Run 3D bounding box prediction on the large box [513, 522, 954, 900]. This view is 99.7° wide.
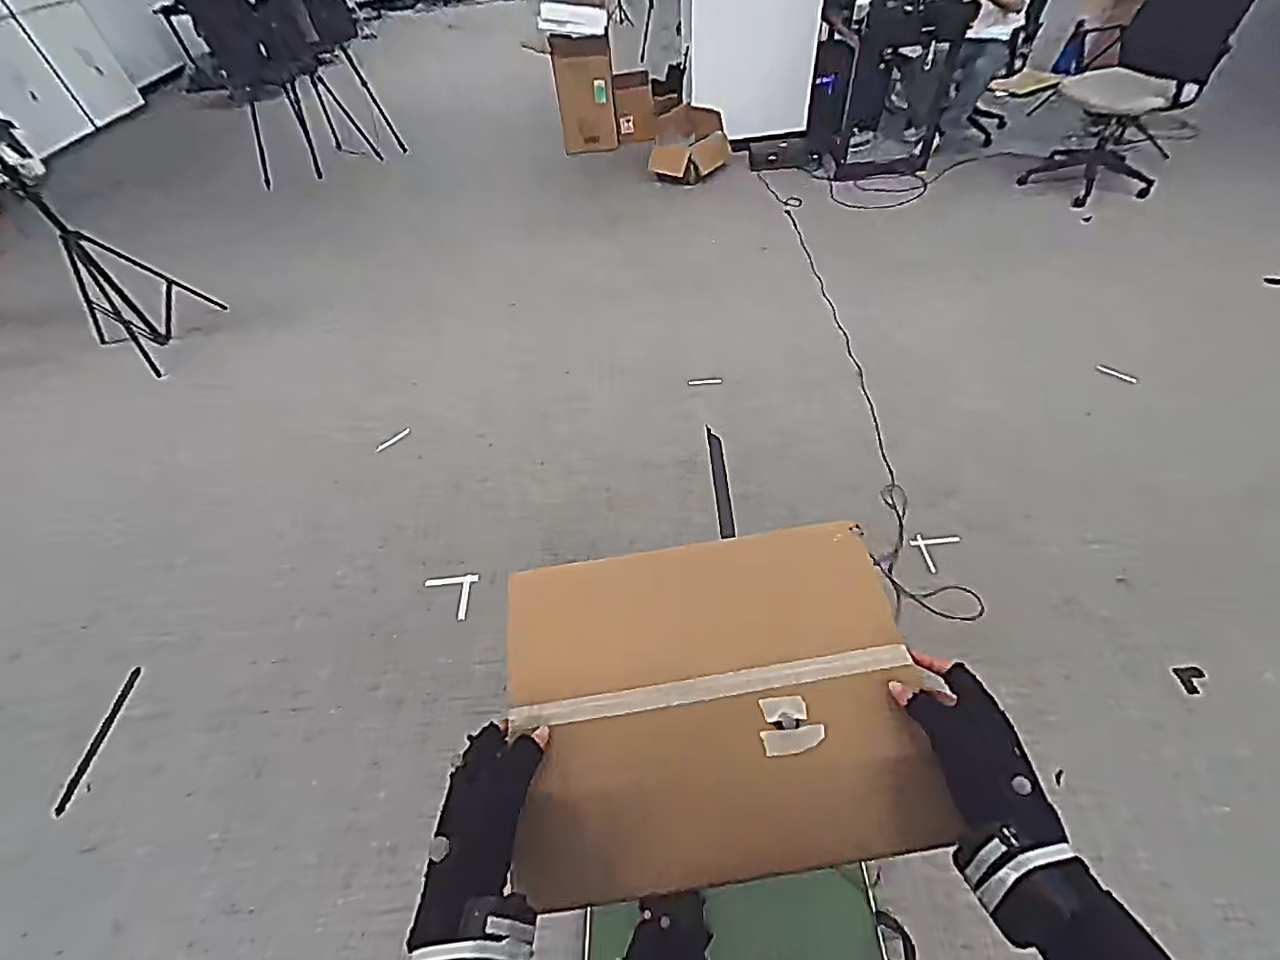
[{"bbox_3d":[0.077,0.290,0.687,0.408,0.320,0.320,-9,58,-1],"label":"large box"}]
